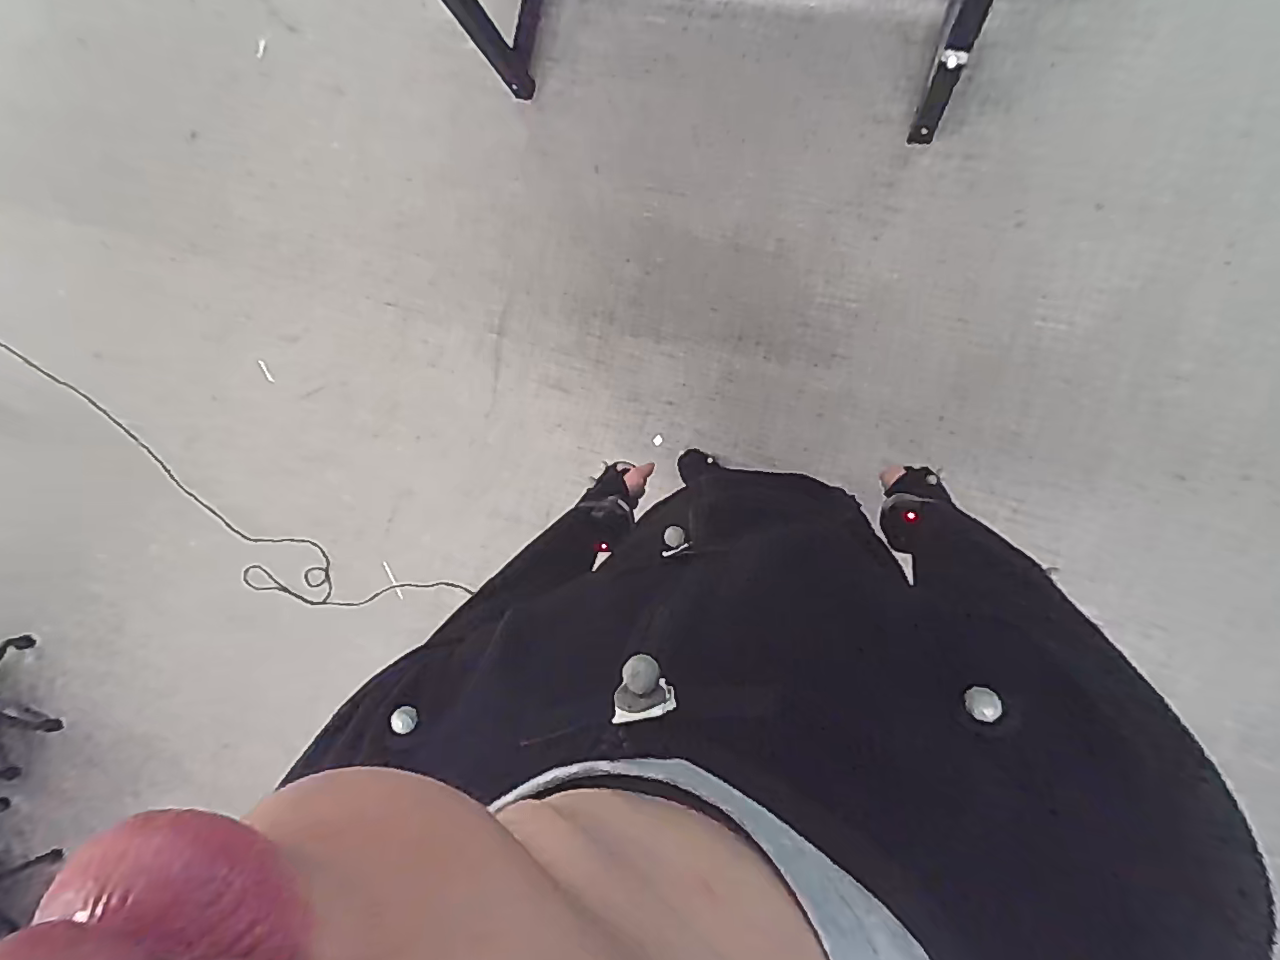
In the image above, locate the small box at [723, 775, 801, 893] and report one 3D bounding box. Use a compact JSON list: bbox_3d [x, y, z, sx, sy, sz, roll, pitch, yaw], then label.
[{"bbox_3d":[0.332,0.946,1.460,0.168,0.176,0.179,14,95,13],"label":"small box"}]
